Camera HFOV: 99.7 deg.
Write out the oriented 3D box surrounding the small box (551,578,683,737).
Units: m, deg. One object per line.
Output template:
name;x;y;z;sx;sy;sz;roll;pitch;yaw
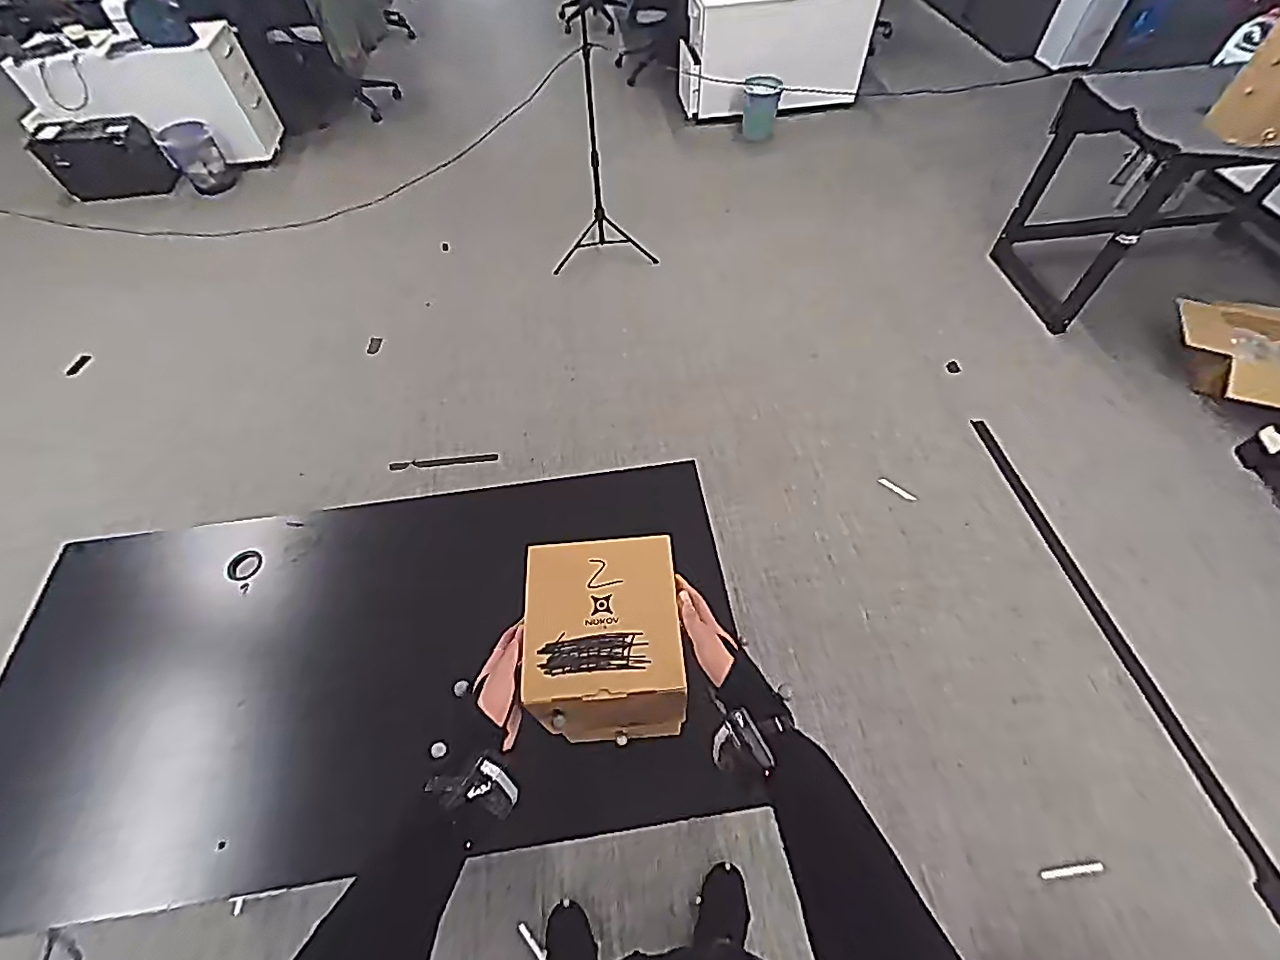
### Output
small box;-0.029;0.259;0.780;0.168;0.176;0.179;-4;56;1
